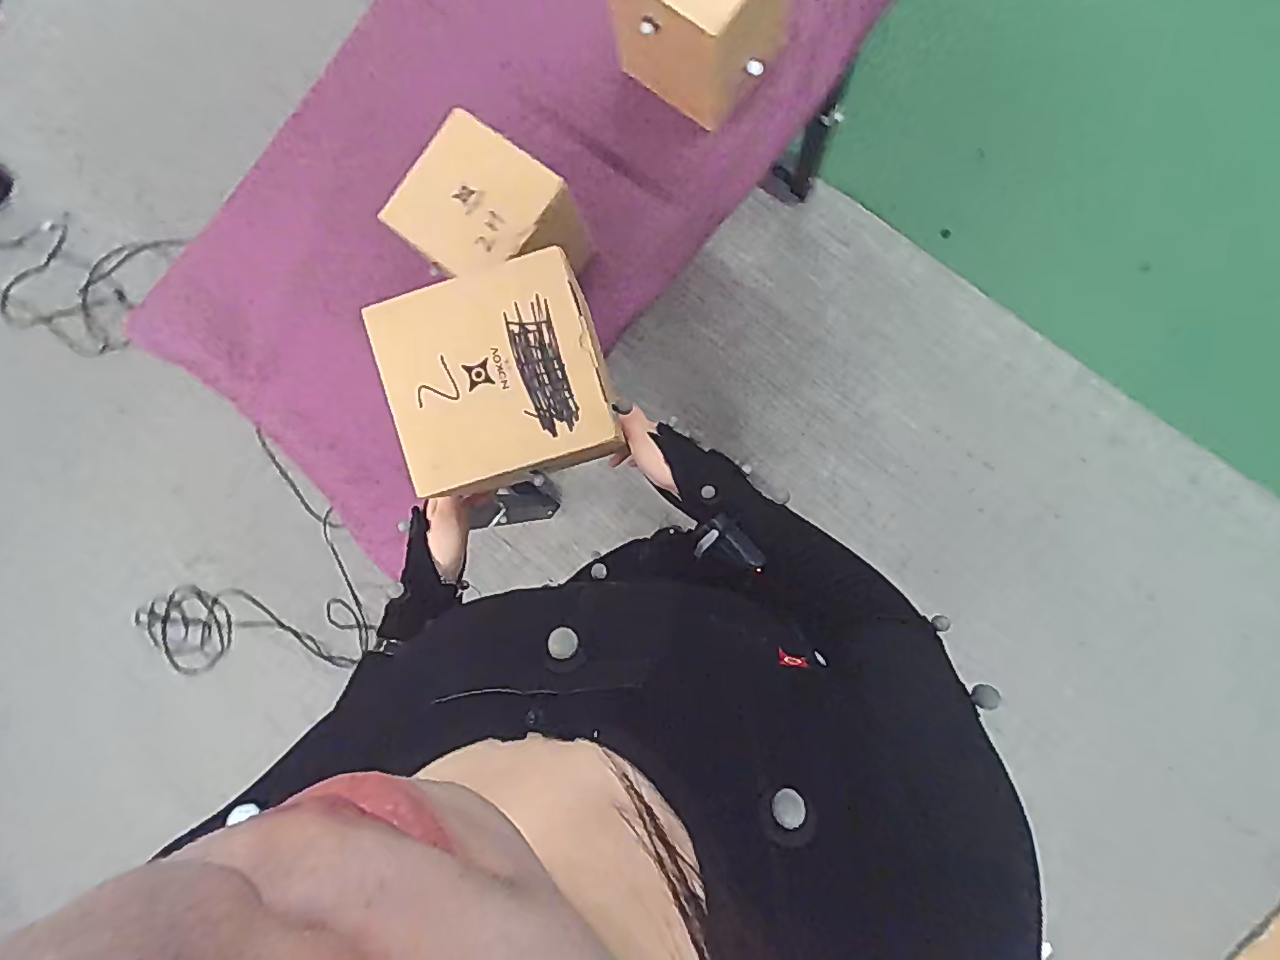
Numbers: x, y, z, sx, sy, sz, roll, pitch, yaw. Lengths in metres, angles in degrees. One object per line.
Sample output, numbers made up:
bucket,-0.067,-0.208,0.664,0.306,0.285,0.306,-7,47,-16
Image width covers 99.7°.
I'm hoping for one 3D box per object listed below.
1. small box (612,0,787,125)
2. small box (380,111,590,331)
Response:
small box,0.075,-0.617,0.705,0.179,0.176,0.168,39,93,6
small box,-0.193,-0.328,0.723,0.179,0.176,0.168,37,93,8
